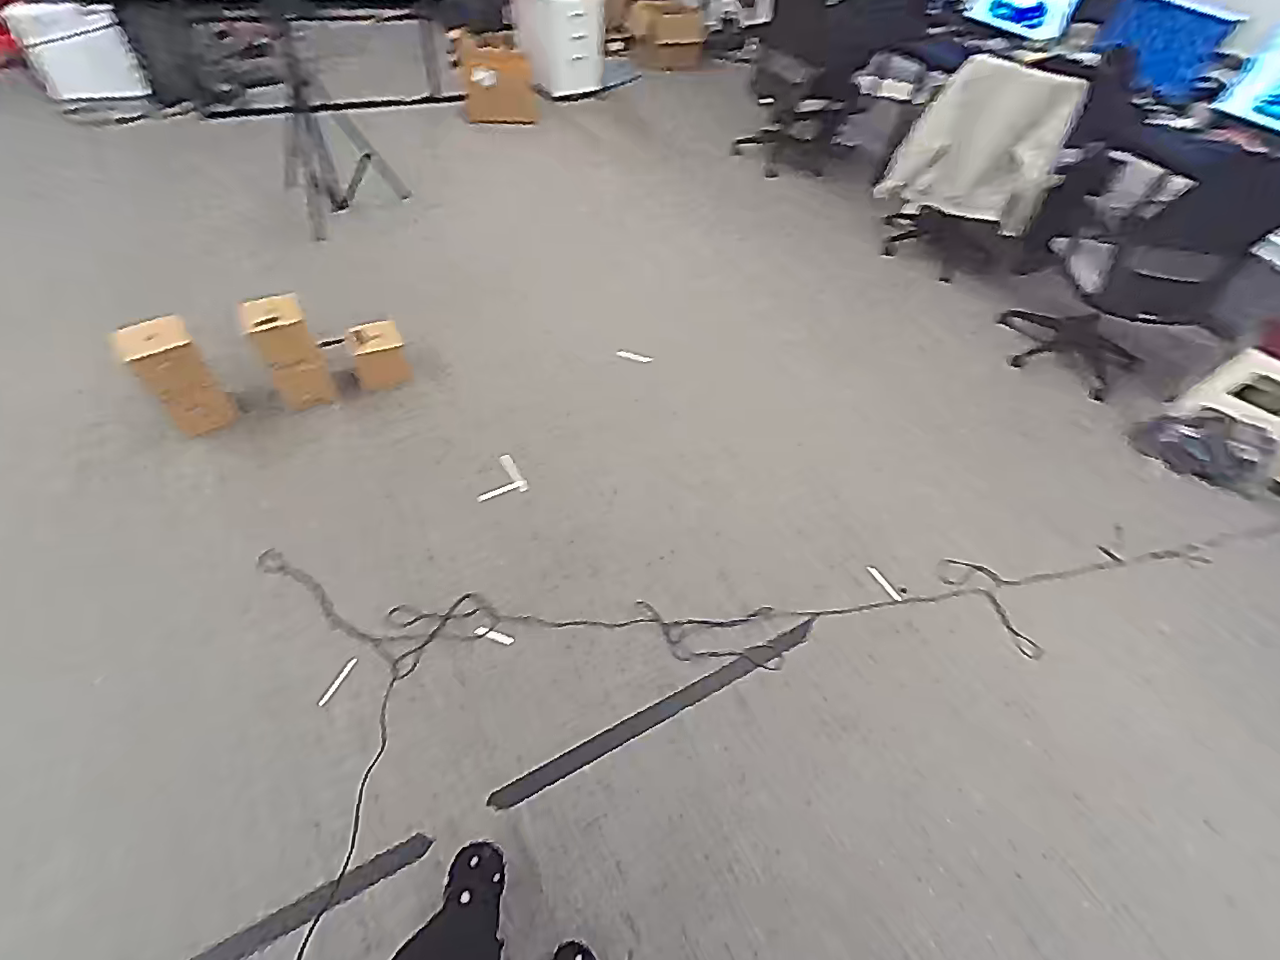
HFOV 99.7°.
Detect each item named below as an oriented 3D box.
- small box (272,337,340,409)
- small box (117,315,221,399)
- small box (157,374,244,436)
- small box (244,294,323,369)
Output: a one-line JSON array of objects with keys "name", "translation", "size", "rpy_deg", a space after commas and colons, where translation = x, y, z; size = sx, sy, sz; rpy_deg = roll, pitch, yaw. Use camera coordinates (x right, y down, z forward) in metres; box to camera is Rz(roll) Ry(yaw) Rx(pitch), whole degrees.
[{"name": "small box", "translation": [-1.205, -0.385, 1.947], "size": [0.168, 0.176, 0.179], "rpy_deg": [-19, 57, -20]}, {"name": "small box", "translation": [-1.476, -0.383, 1.702], "size": [0.179, 0.176, 0.168], "rpy_deg": [-31, 62, -29]}, {"name": "small box", "translation": [-1.494, -0.280, 1.828], "size": [0.179, 0.176, 0.168], "rpy_deg": [-33, 63, -27]}, {"name": "small box", "translation": [-1.196, -0.493, 1.822], "size": [0.168, 0.176, 0.179], "rpy_deg": [-21, 56, -22]}]
